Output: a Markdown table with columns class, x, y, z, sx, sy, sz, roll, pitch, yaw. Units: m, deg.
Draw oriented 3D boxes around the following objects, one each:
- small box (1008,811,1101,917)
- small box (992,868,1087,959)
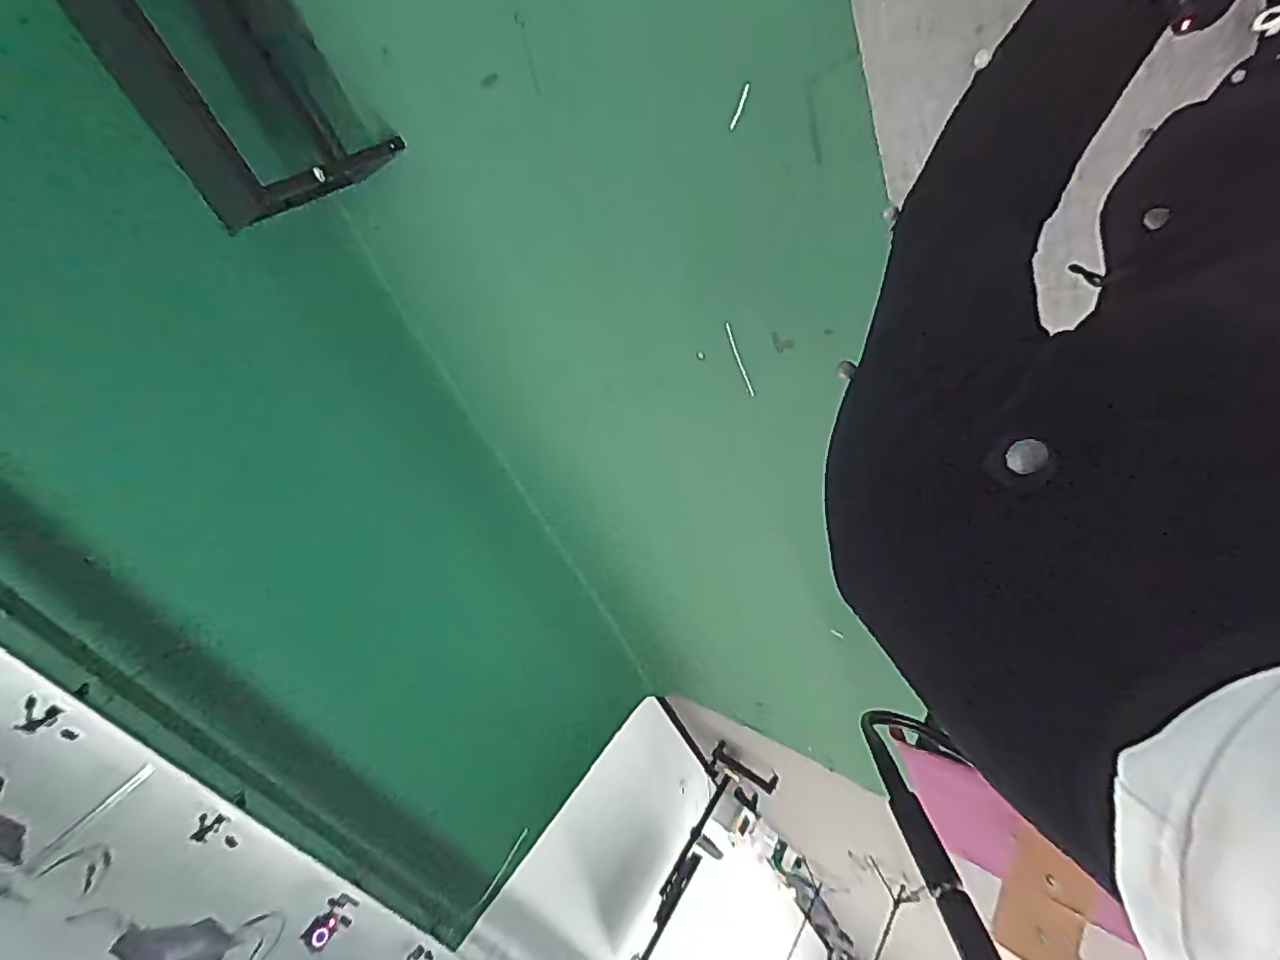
| class | x | y | z | sx | sy | sz | roll | pitch | yaw |
| --- | --- | --- | --- | --- | --- | --- | --- | --- | --- |
| small box | 1.126 | 1.051 | 1.476 | 0.179 | 0.176 | 0.168 | 15 | 139 | 40 |
| small box | 1.029 | 1.154 | 1.394 | 0.179 | 0.176 | 0.168 | 10 | 136 | 42 |
